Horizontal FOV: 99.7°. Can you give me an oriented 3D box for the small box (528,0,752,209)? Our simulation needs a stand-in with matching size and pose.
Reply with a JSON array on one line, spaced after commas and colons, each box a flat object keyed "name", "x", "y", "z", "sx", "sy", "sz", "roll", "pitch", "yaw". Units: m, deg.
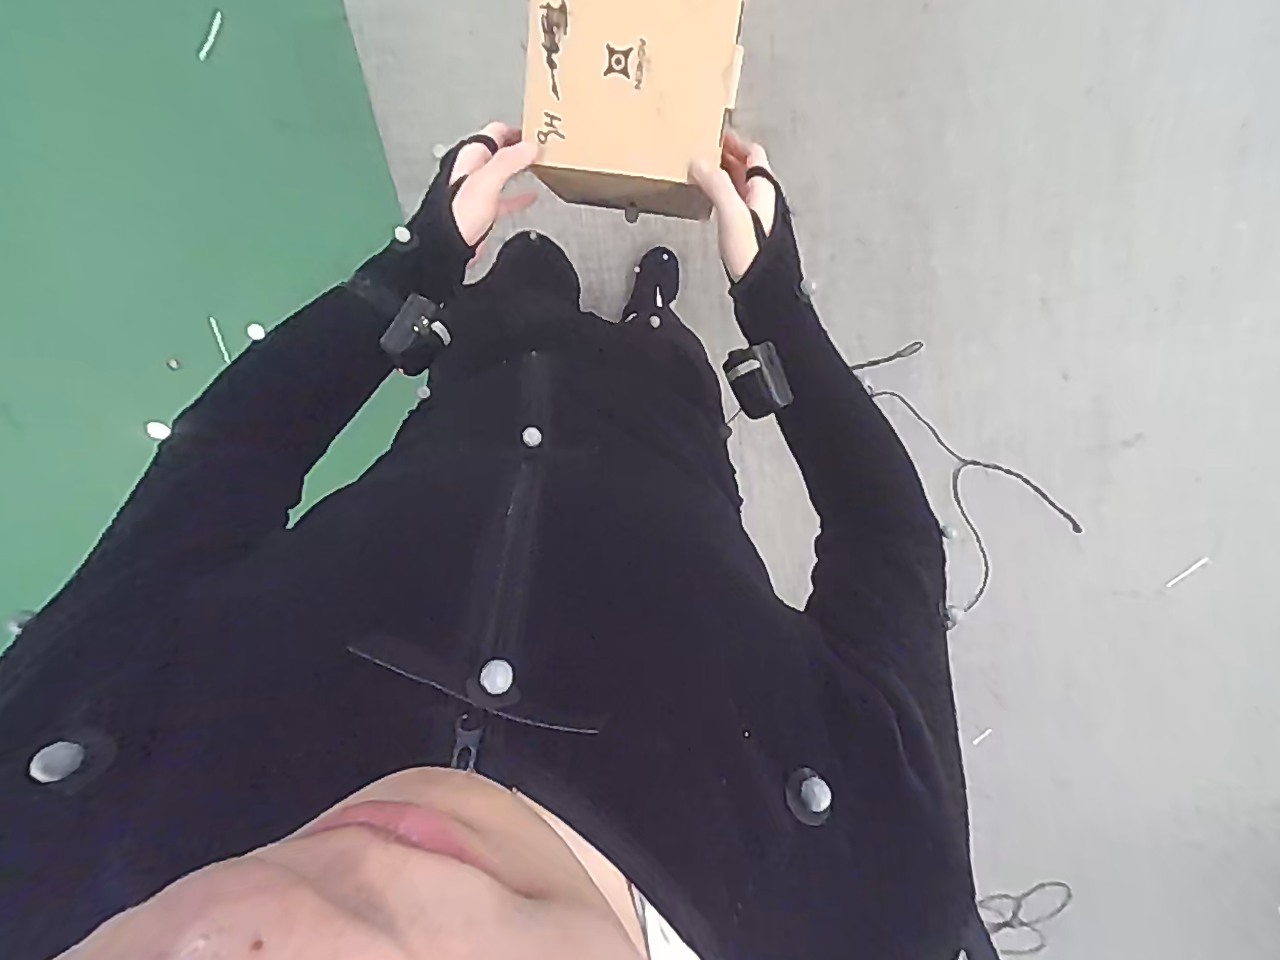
[{"name": "small box", "x": 0.002, "y": -0.377, "z": 0.531, "sx": 0.179, "sy": 0.176, "sz": 0.168, "roll": 9, "pitch": 107, "yaw": 2}]
